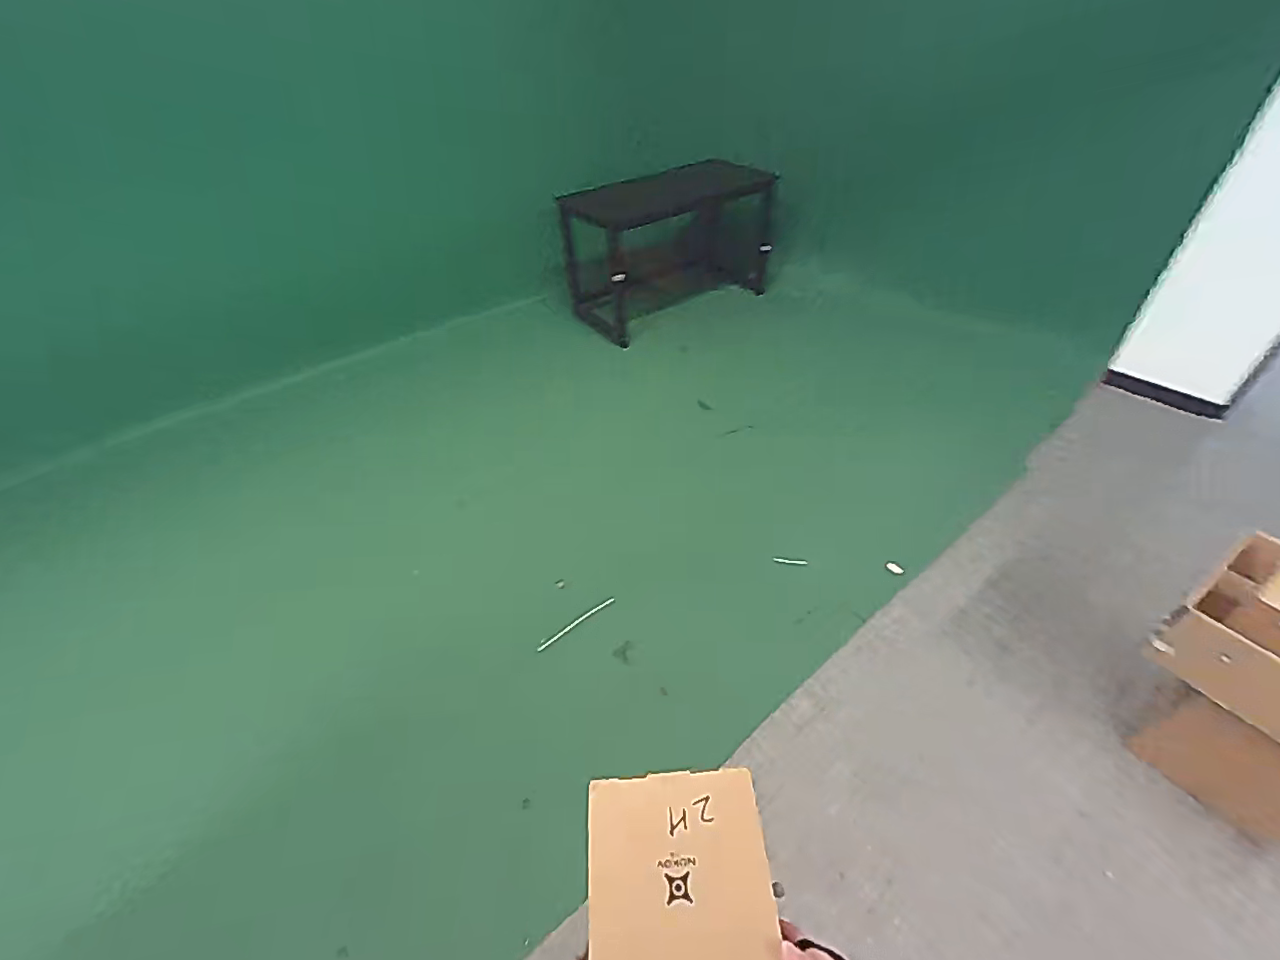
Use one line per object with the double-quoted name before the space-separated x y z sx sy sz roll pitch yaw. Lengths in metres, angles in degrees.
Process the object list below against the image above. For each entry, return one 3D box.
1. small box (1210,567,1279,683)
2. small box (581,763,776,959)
"small box" 1.458 0.324 1.215 0.179 0.176 0.168 -24 46 -21
"small box" 0.036 0.411 0.548 0.168 0.176 0.179 -4 44 1
